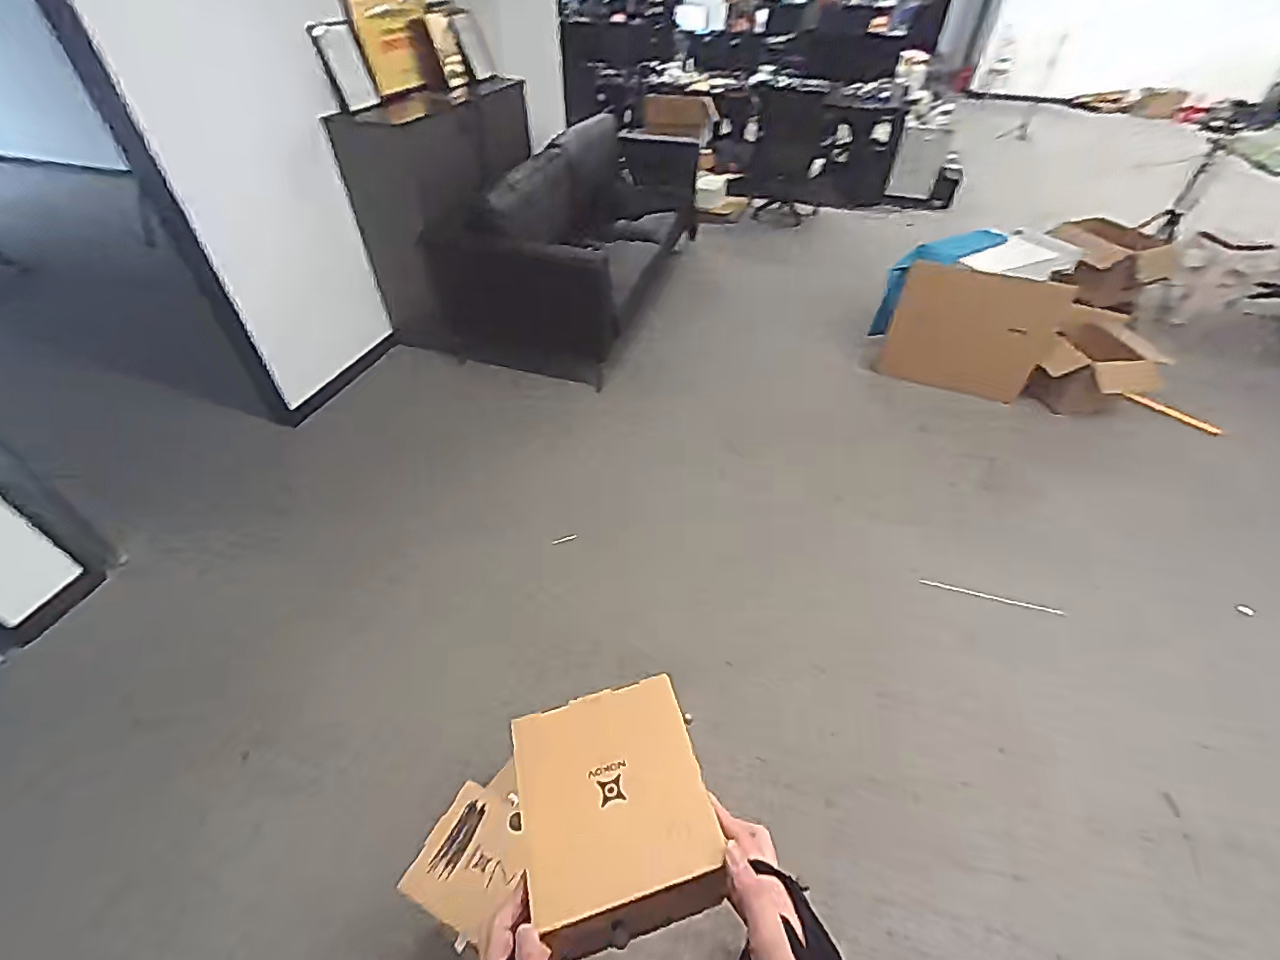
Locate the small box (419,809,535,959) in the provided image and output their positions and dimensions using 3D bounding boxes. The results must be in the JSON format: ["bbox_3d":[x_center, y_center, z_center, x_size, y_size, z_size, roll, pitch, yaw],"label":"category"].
[{"bbox_3d":[-0.264,0.749,0.988,0.179,0.176,0.168,21,47,18],"label":"small box"}]

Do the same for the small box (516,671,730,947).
[{"bbox_3d":[-0.017,0.329,0.539,0.168,0.176,0.179,-14,42,-8],"label":"small box"}]
